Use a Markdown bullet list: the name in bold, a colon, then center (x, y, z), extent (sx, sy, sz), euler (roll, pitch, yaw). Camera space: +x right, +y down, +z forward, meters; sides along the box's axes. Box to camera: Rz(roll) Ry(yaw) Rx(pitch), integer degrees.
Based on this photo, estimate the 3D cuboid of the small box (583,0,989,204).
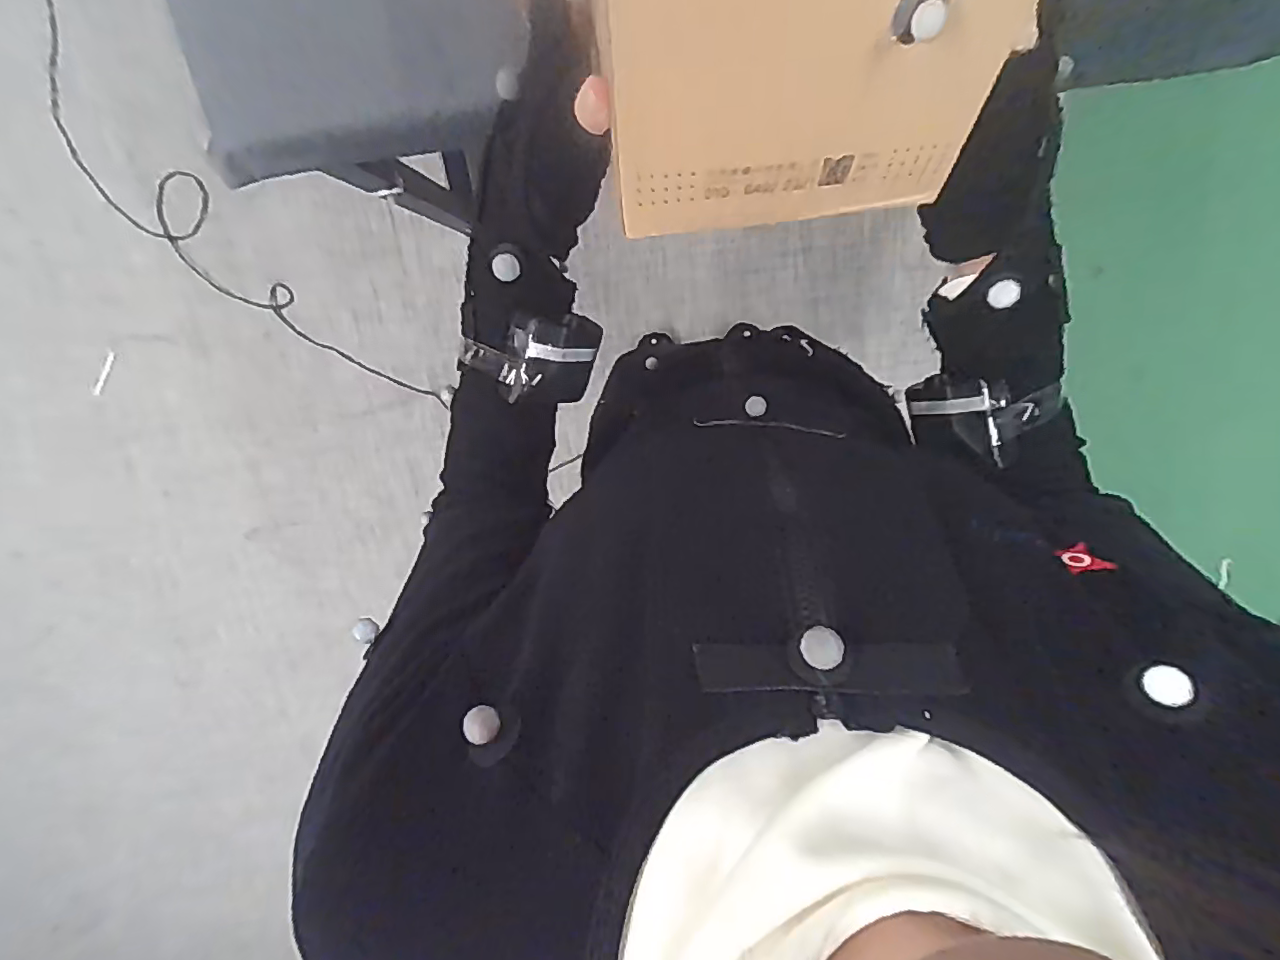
- **small box**: center (0.055, -0.253, 0.252), extent (0.168, 0.176, 0.179), euler (-7, 62, -3)
